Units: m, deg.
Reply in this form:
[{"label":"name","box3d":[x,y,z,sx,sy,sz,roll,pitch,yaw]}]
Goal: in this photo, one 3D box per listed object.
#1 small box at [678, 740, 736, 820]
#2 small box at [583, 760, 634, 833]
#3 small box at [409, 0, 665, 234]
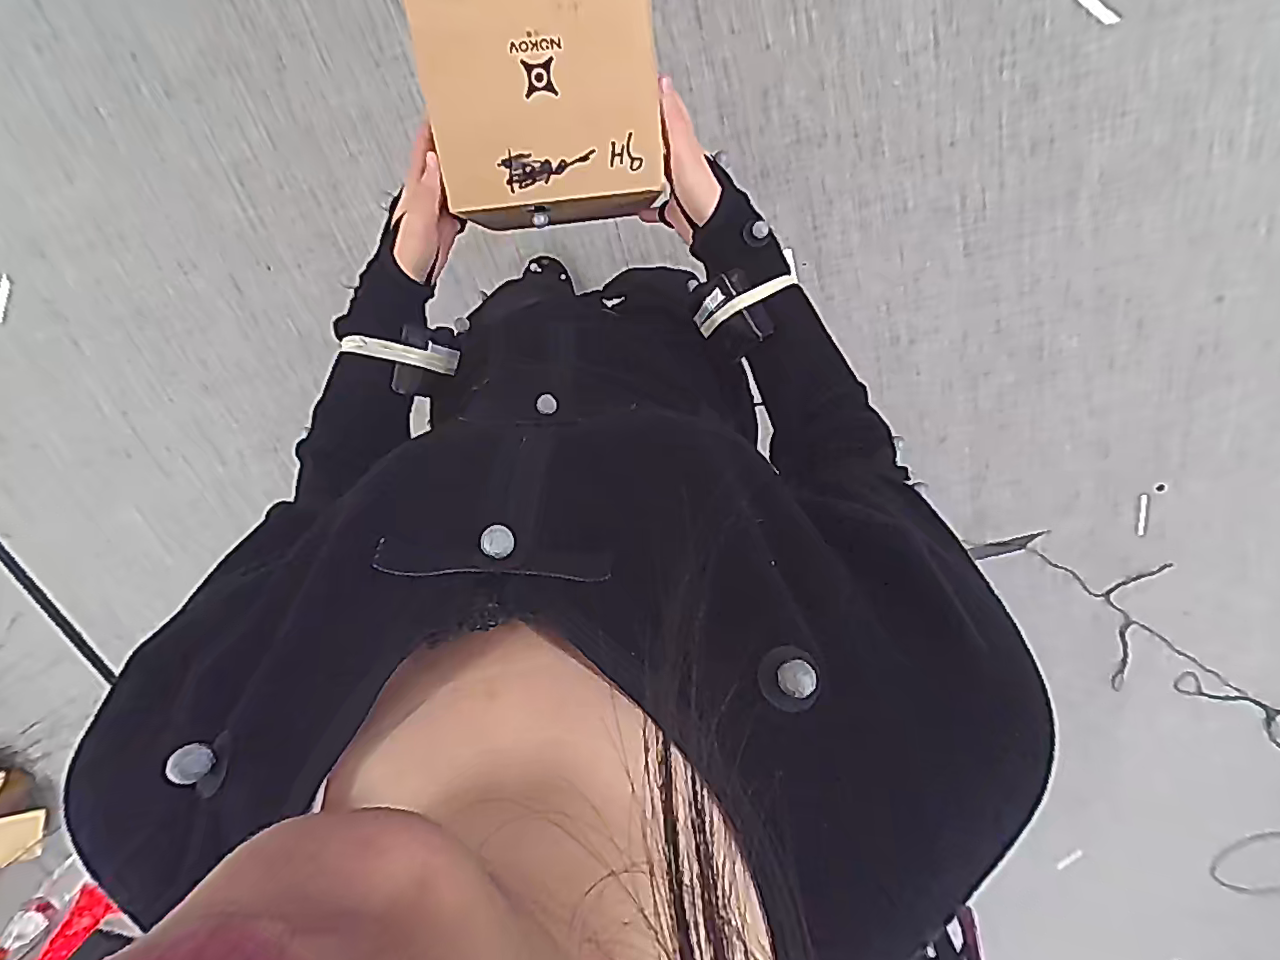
[{"label":"small box","box3d":[0.236,1.065,1.926,0.168,0.176,0.179,-16,112,6]},{"label":"small box","box3d":[-0.111,1.140,1.957,0.179,0.176,0.168,0,113,-2]},{"label":"small box","box3d":[-0.076,-0.315,0.451,0.168,0.176,0.179,-7,110,-3]}]
